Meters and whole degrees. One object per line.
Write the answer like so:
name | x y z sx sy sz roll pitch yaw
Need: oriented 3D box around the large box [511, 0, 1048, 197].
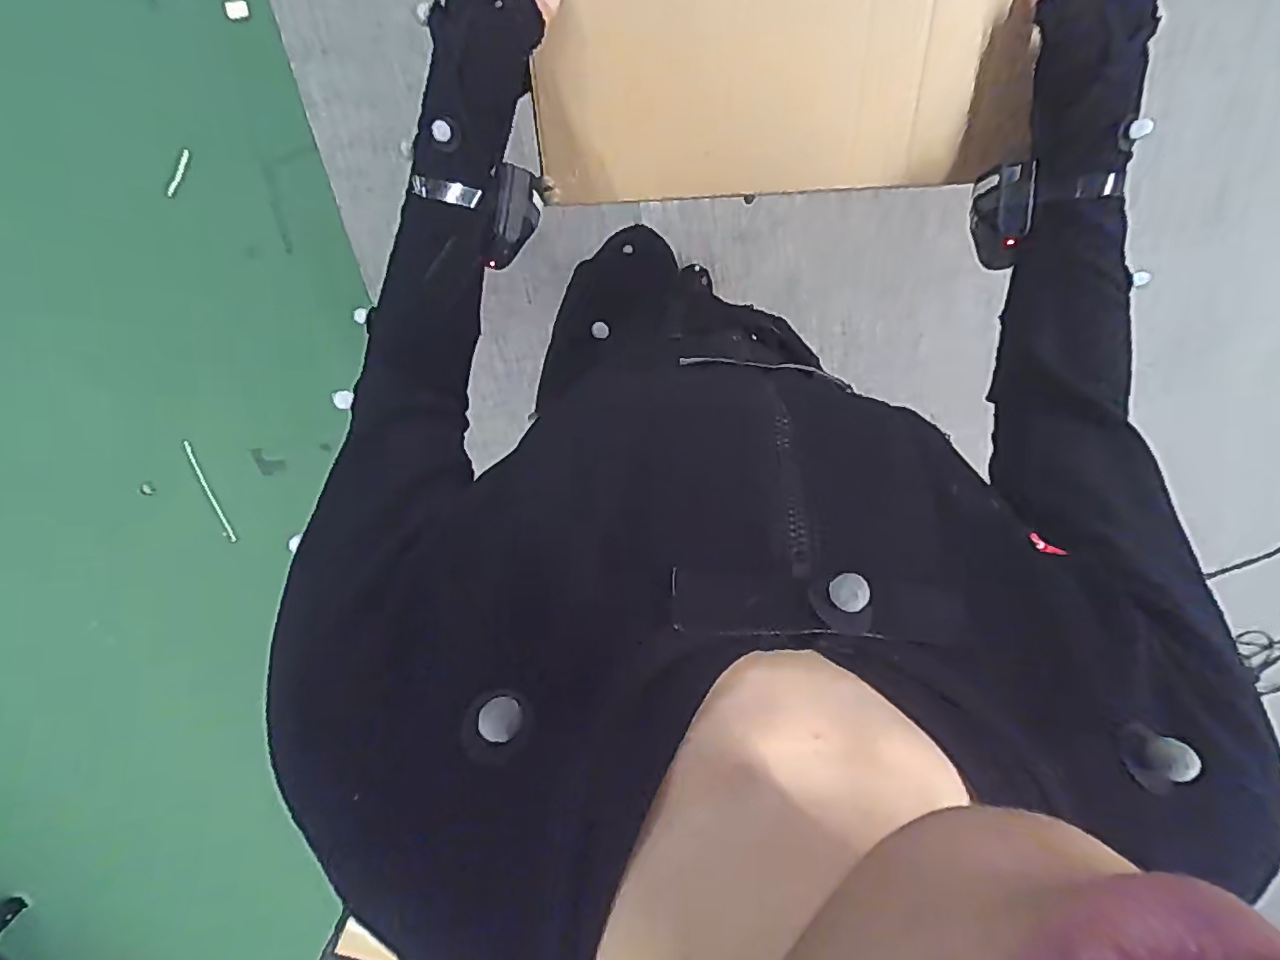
large box | 0.105 -0.463 0.507 0.408 0.320 0.320 -1 121 3
